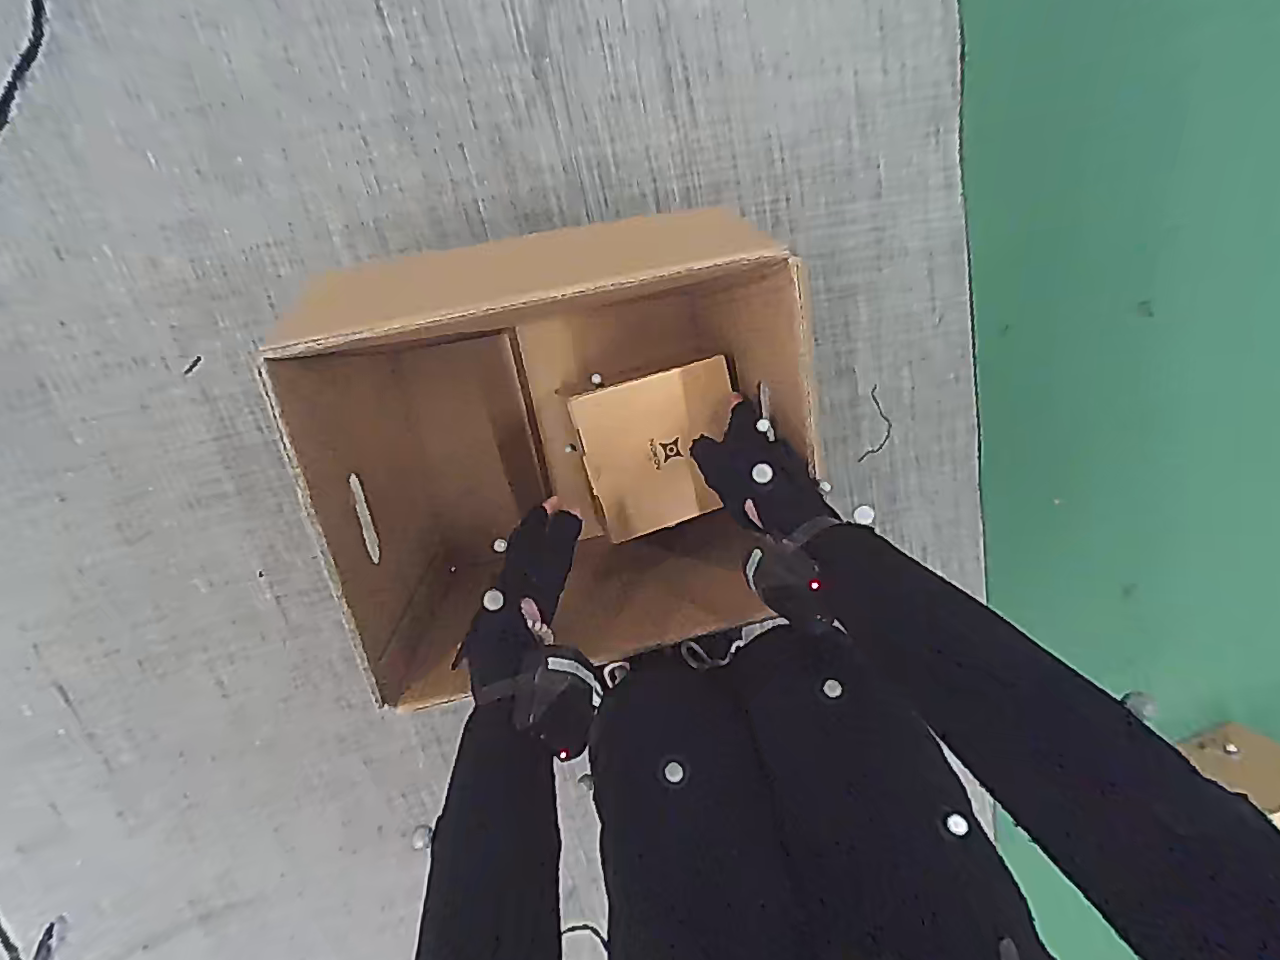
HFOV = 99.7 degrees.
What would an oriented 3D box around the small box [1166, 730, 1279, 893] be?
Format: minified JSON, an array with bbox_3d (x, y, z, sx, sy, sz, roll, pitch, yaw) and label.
[{"bbox_3d":[1.155,0.619,1.026,0.168,0.176,0.179,-17,105,-5],"label":"small box"}]
